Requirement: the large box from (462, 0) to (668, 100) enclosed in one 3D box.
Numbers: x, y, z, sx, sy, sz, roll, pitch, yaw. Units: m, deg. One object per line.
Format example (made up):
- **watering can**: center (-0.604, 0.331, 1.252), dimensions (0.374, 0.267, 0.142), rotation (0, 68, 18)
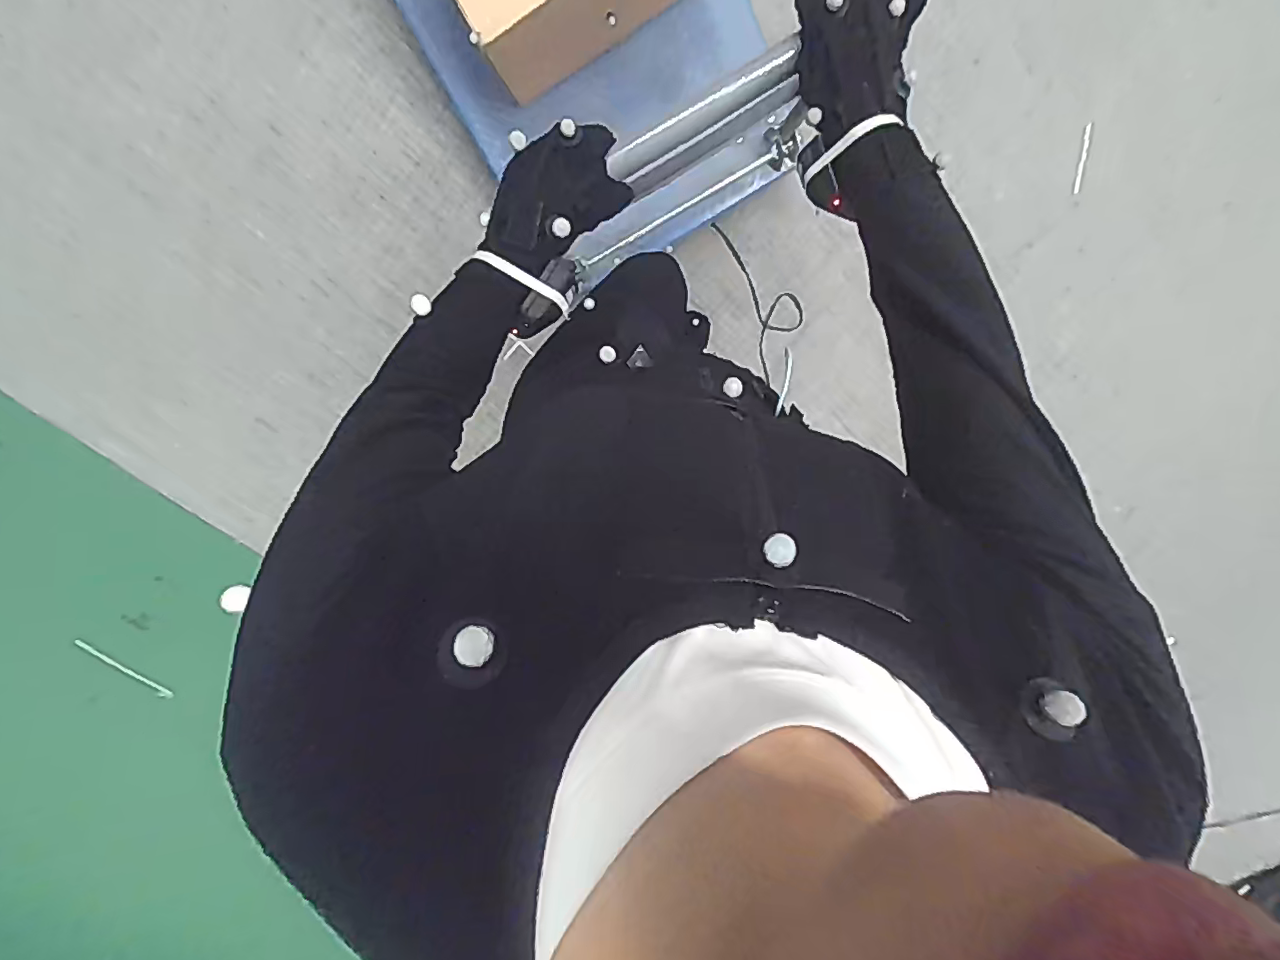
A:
- **large box**: center (-0.124, -0.899, 0.840), dimensions (0.408, 0.320, 0.320), rotation (-29, 108, 10)
